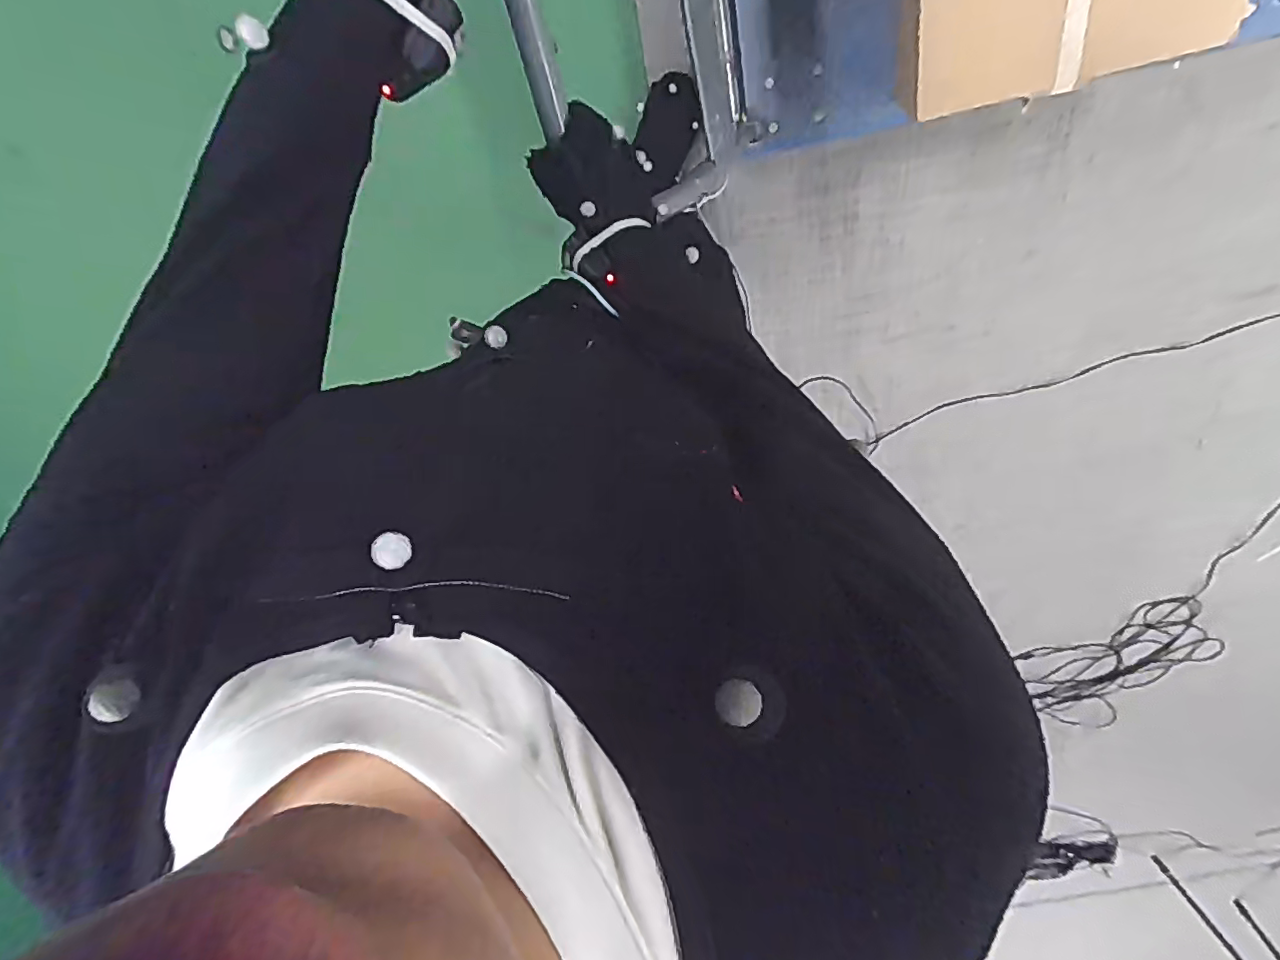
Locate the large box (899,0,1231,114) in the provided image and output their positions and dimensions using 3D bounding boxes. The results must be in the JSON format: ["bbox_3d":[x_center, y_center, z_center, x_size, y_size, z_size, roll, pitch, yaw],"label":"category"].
[{"bbox_3d":[0.490,-0.729,0.655,0.320,0.320,0.408,-2,126,22],"label":"large box"}]
